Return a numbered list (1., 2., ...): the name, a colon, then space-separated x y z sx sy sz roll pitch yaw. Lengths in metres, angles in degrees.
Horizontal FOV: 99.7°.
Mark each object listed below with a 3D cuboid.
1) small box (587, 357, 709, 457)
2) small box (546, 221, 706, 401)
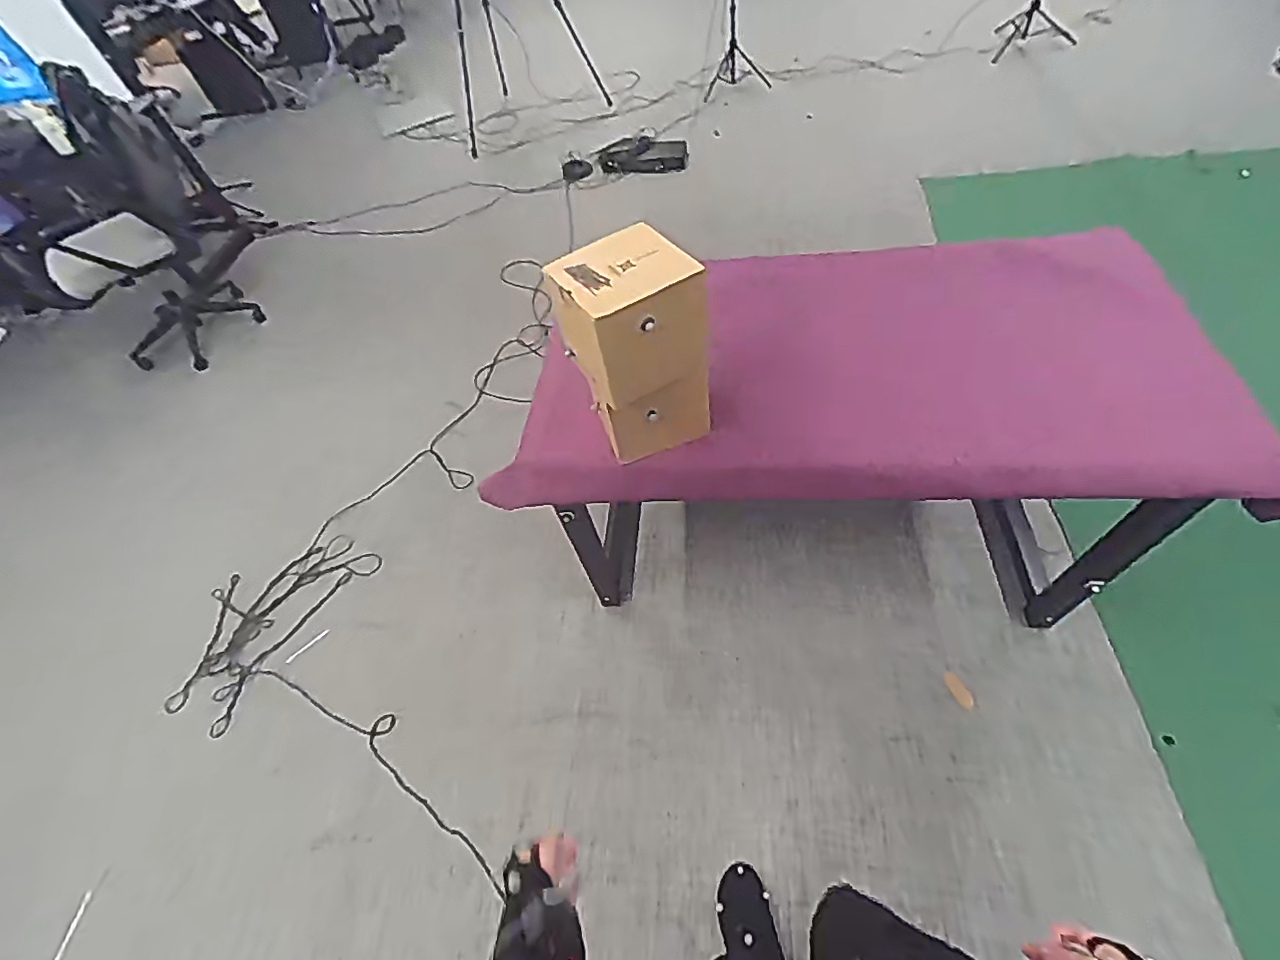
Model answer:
1. small box: 0.012 -0.167 0.954 0.179 0.176 0.168 -20 54 -5
2. small box: -0.014 -0.250 0.814 0.179 0.176 0.168 -29 55 -13
